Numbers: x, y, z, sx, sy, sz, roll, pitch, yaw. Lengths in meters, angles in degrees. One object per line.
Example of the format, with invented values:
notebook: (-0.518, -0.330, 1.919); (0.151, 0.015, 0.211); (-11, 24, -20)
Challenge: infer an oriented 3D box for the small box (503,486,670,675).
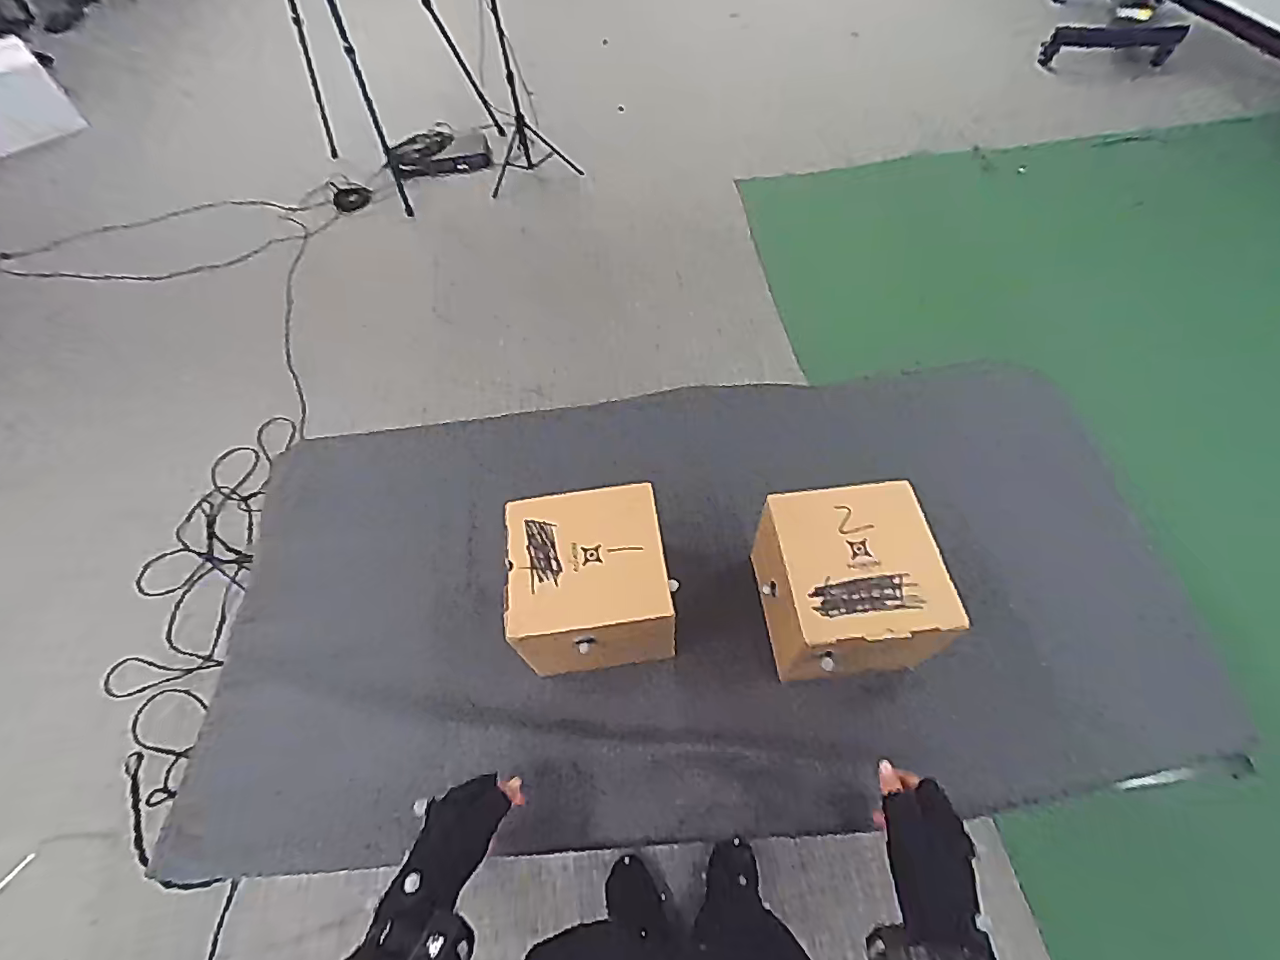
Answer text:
small box: (-0.060, 0.130, 0.666); (0.179, 0.176, 0.168); (-8, 57, -2)
